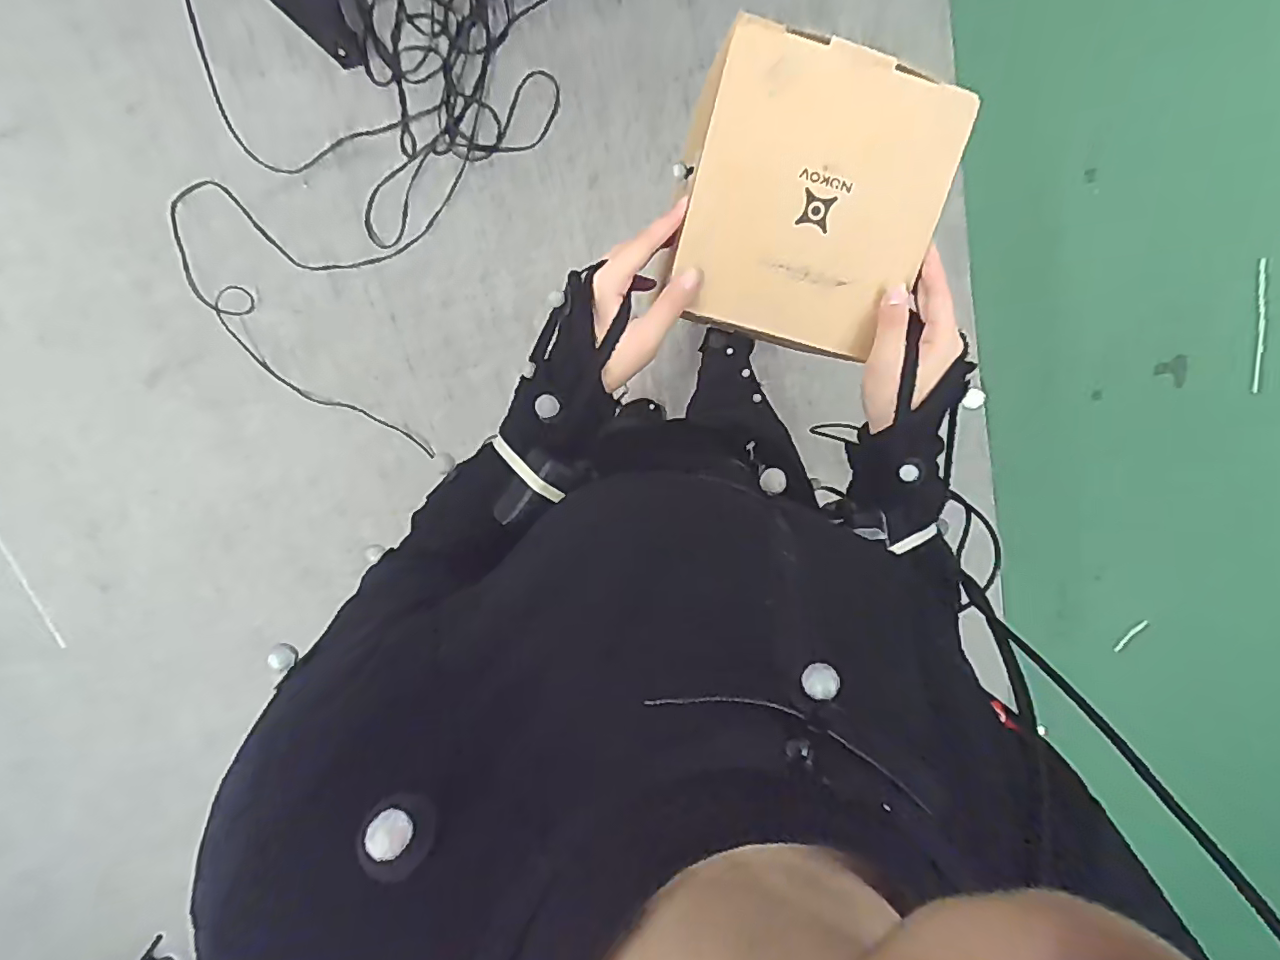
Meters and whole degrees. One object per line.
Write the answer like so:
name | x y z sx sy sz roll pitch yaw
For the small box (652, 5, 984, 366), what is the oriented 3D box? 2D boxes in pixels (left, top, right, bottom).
small box | 0.111 -0.201 0.423 0.168 0.176 0.179 13 106 -7
